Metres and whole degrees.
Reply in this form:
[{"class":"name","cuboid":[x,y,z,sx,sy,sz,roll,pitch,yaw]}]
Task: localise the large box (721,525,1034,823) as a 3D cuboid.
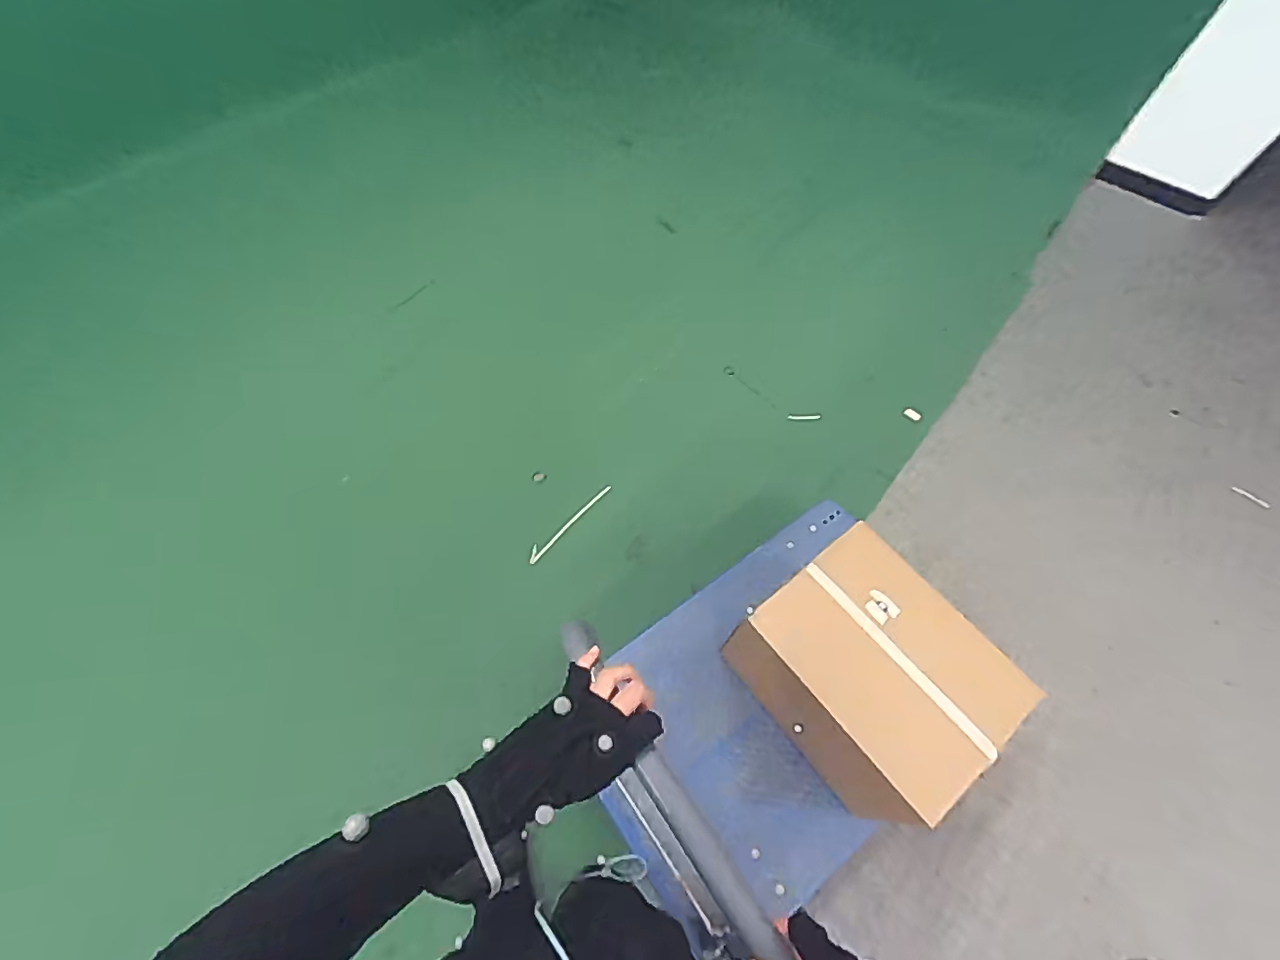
[{"class":"large box","cuboid":[0.417,0.374,1.055,0.320,0.320,0.408,-33,66,-19]}]
